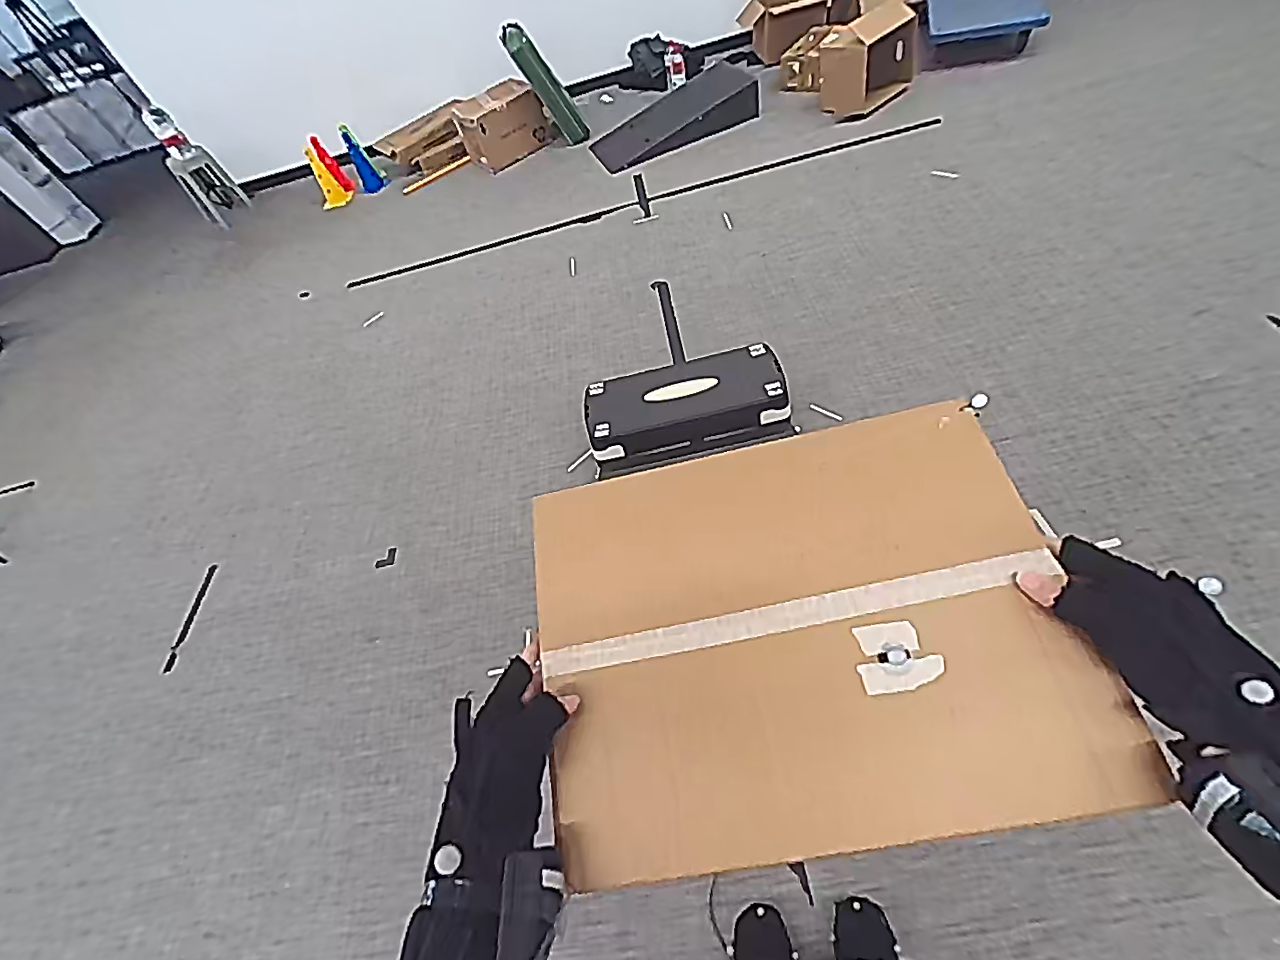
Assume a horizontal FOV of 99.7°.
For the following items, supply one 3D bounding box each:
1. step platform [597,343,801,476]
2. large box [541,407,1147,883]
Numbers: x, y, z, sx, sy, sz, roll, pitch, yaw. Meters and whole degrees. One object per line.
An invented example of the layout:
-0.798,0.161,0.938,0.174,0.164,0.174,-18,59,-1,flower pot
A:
0.194,-0.246,1.861,0.684,0.204,0.286,-13,52,4,step platform
0.146,0.178,0.571,0.408,0.320,0.320,-13,62,6,large box
